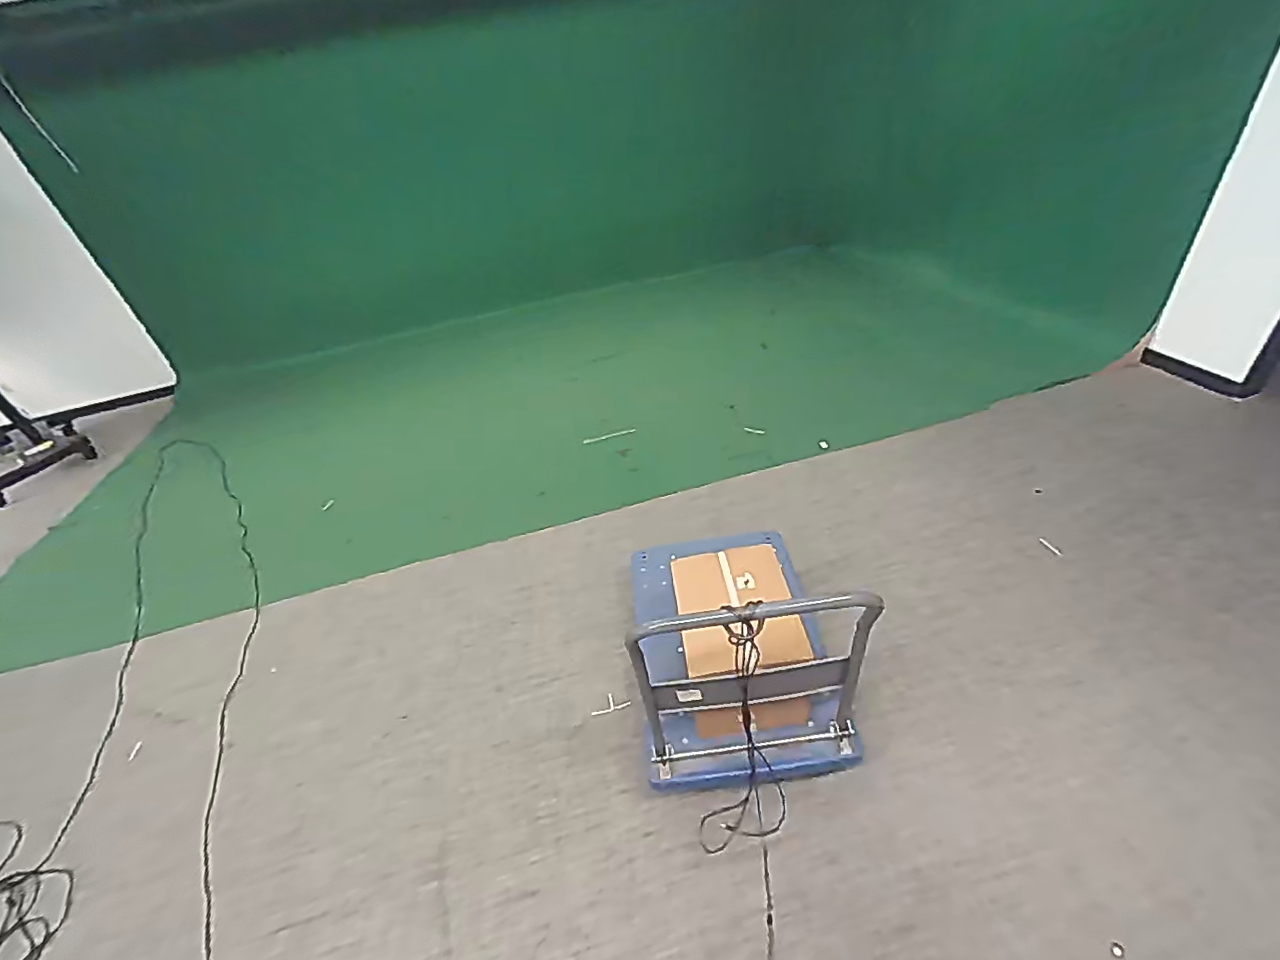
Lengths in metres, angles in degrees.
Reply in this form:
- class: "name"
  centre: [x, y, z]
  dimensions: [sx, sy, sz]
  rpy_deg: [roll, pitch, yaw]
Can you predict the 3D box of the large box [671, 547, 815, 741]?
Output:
- class: "large box"
  centre: [0.284, 0.462, 1.552]
  dimensions: [0.320, 0.320, 0.408]
  rpy_deg: [-9, 37, 2]
